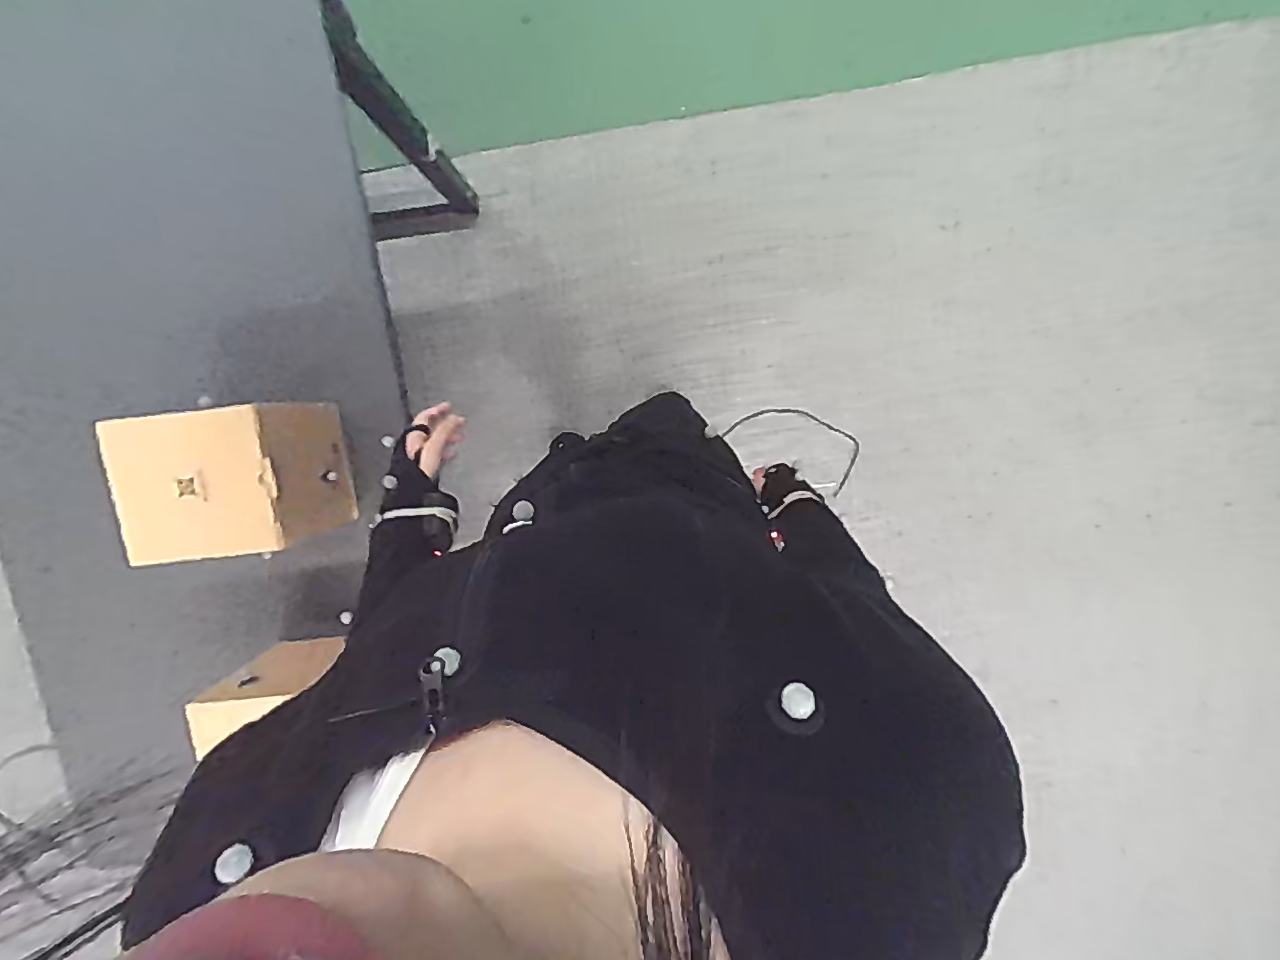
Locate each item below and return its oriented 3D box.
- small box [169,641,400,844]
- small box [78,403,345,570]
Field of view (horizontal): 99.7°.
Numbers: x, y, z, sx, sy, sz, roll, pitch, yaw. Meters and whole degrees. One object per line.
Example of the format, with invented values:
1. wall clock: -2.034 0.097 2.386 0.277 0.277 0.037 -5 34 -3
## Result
1. small box: -0.439 0.325 0.697 0.179 0.176 0.168 -6 98 -1
2. small box: -0.497 0.000 0.656 0.179 0.176 0.168 -7 97 -1
